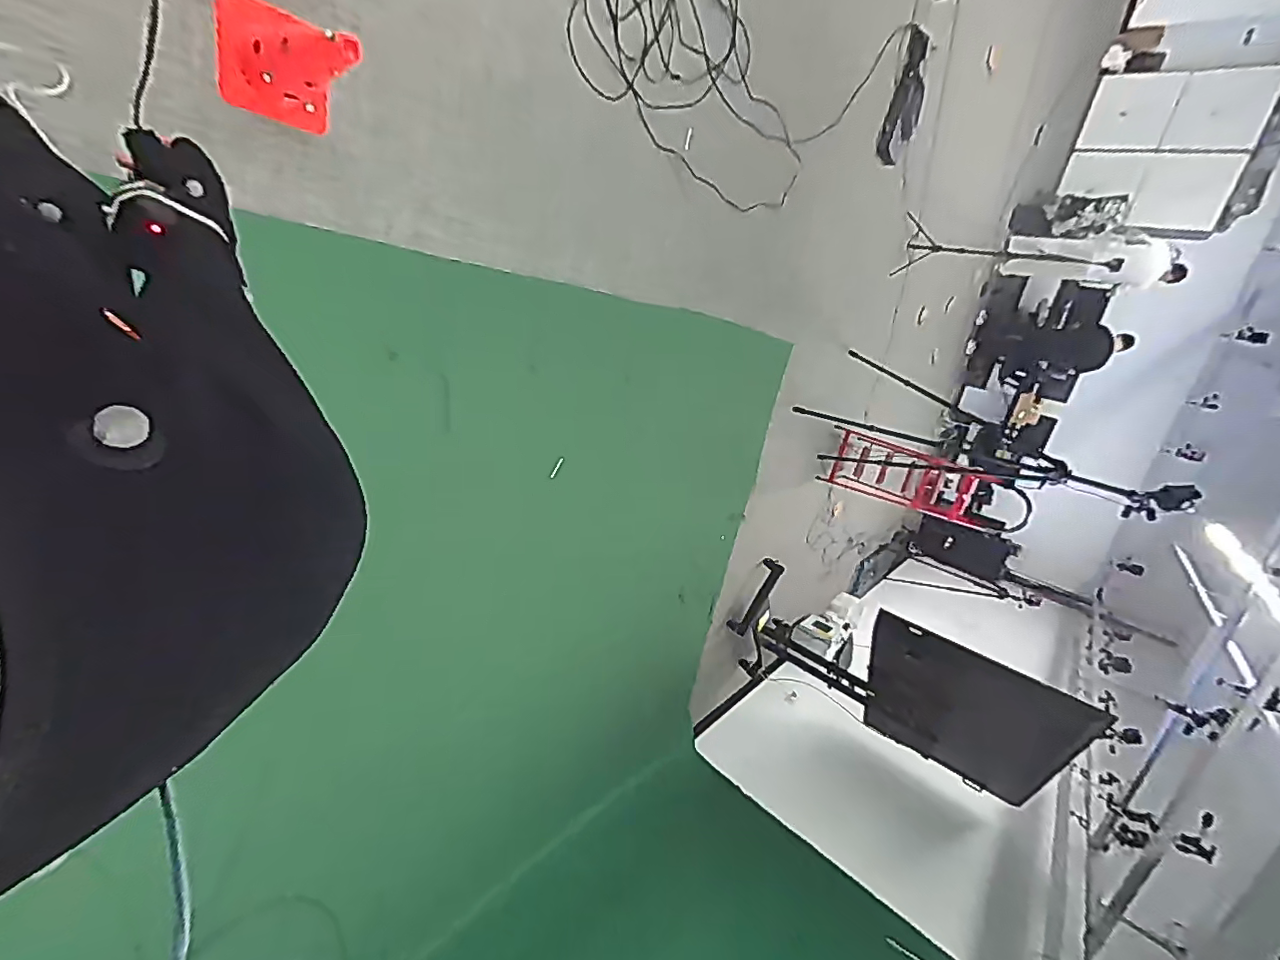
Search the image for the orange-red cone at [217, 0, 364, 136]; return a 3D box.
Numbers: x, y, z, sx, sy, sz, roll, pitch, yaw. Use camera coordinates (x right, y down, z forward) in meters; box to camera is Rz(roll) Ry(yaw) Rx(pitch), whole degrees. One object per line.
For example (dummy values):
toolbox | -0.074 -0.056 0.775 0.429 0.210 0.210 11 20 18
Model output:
orange-red cone | -0.620 -0.790 1.015 0.198 0.360 0.199 -10 117 -50
